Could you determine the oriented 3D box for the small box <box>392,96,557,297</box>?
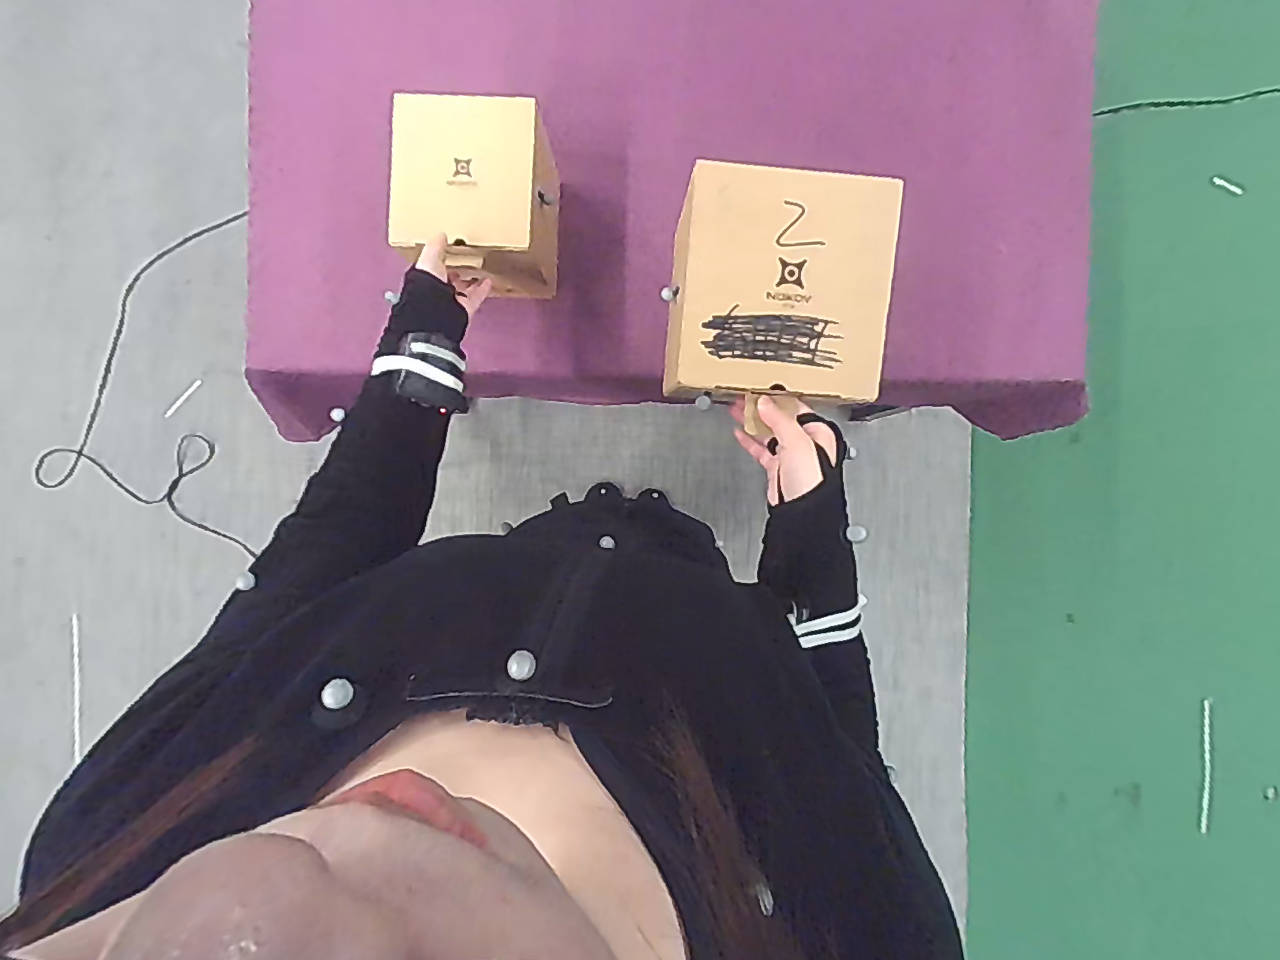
[{"bbox_3d":[-0.205,-0.360,0.714,0.168,0.176,0.179,3,91,1],"label":"small box"}]
